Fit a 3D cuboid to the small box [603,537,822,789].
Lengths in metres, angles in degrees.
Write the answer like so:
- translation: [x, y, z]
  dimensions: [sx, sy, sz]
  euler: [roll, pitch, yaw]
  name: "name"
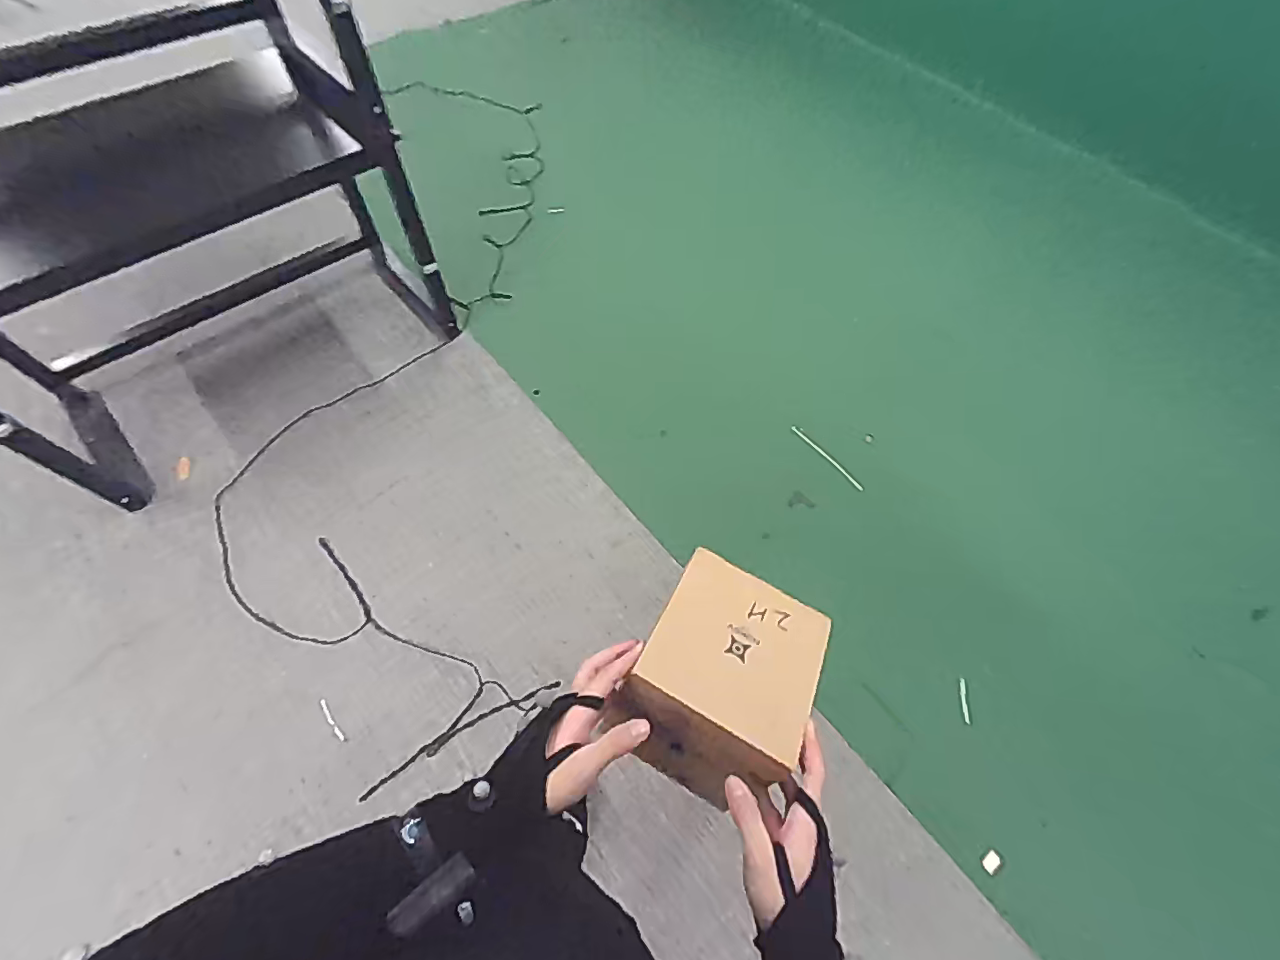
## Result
- translation: [0.072, 0.205, 0.600]
  dimensions: [0.168, 0.176, 0.179]
  euler: [29, 46, 8]
  name: "small box"
